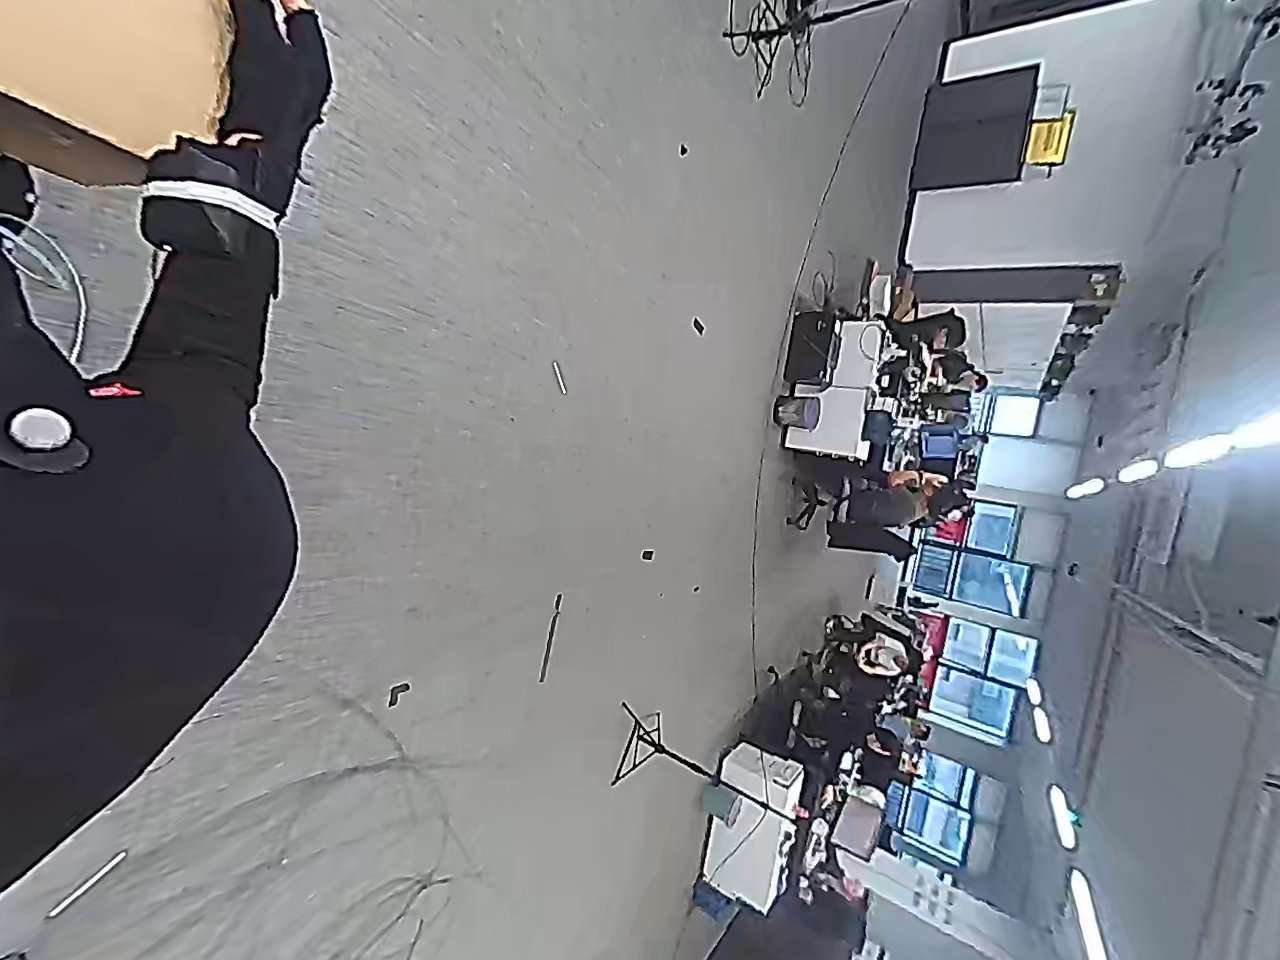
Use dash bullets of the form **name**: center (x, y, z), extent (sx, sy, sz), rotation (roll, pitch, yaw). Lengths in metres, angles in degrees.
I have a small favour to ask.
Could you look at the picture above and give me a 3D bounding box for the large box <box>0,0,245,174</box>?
- **large box**: center (-0.518, -0.437, 0.311), extent (0.408, 0.320, 0.320), rotation (11, 98, -61)
